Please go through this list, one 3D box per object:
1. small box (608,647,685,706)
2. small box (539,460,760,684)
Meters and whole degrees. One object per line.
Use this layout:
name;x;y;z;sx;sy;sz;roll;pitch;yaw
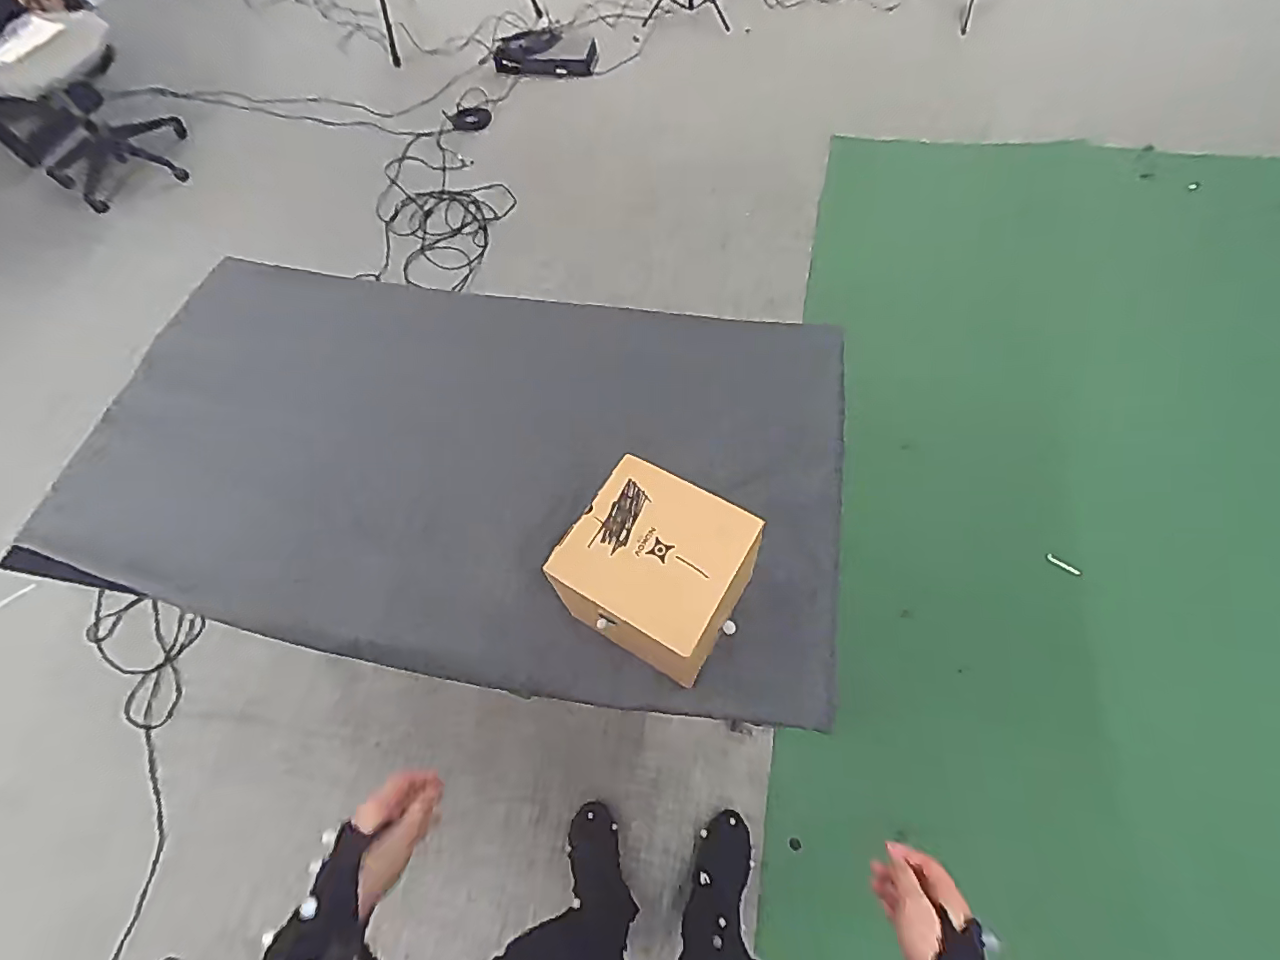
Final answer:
small box;0.025;0.433;1.285;0.168;0.176;0.179;3;63;7
small box;0.016;0.113;0.625;0.179;0.176;0.168;27;66;19
